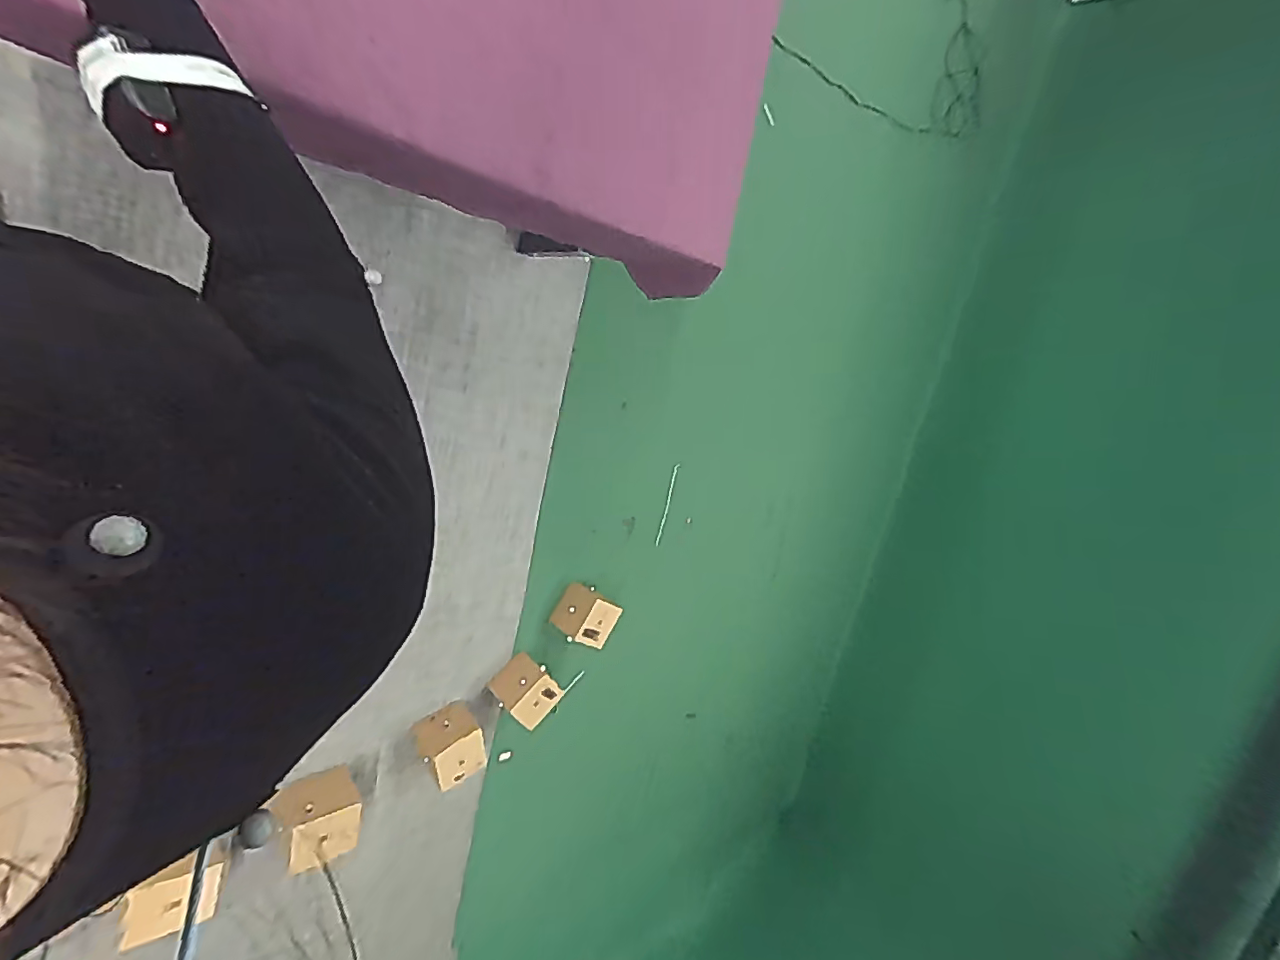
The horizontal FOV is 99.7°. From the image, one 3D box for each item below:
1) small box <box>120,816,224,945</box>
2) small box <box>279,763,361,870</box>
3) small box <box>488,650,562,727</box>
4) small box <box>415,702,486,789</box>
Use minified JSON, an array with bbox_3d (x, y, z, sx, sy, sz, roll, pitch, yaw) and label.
[{"bbox_3d":[-1.181,0.992,1.362,0.179,0.176,0.168,8,102,-45],"label":"small box"},{"bbox_3d":[-0.942,0.975,1.584,0.179,0.176,0.168,0,108,-44],"label":"small box"},{"bbox_3d":[-0.426,0.764,1.997,0.179,0.176,0.168,-44,133,-21],"label":"small box"},{"bbox_3d":[-0.646,0.888,1.836,0.168,0.176,0.179,-20,120,-38],"label":"small box"}]
